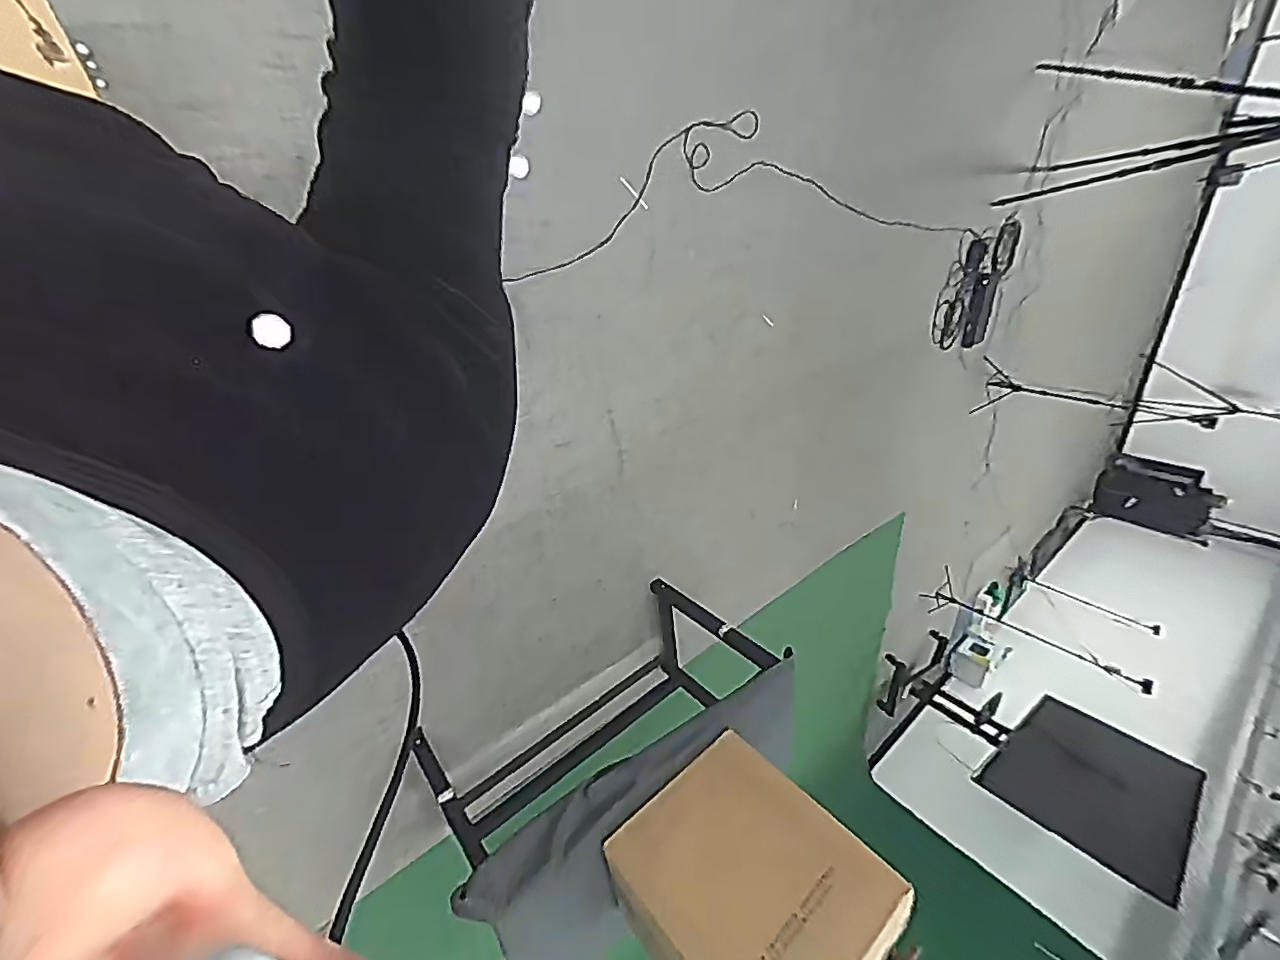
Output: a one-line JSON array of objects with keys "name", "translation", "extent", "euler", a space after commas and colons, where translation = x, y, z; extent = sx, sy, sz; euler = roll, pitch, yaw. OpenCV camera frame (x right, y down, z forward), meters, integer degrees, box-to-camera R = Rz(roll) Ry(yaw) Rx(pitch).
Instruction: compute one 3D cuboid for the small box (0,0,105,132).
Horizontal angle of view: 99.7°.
[{"name": "small box", "translation": [-0.825, -0.542, 0.669], "extent": [0.179, 0.176, 0.168], "euler": [-27, 124, -28]}]
